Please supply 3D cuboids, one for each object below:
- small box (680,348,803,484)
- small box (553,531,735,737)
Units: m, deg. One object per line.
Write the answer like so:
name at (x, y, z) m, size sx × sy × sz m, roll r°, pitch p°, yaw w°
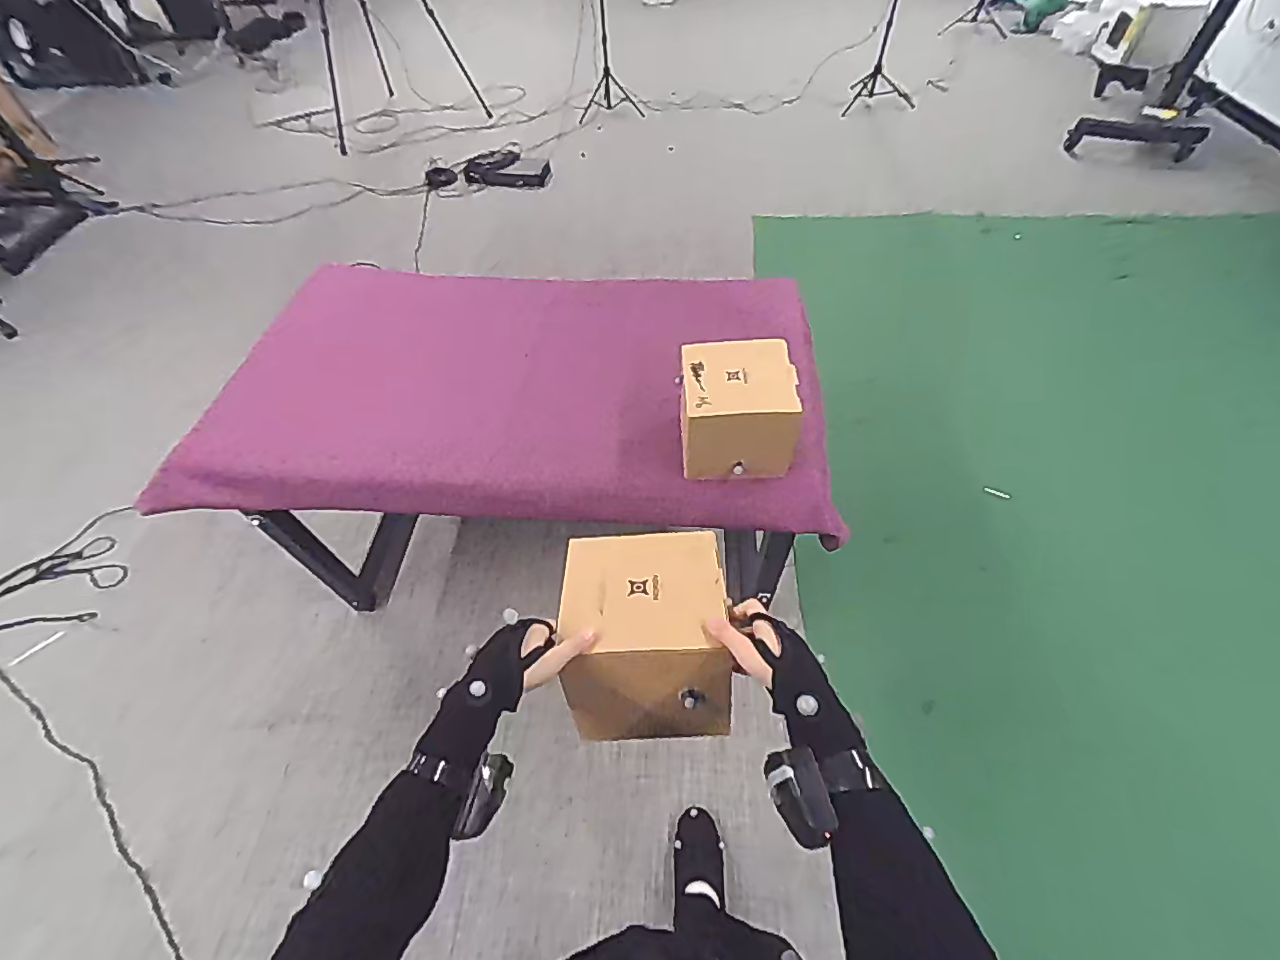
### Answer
small box at (0.161, -0.105, 0.919) m, size 0.179 × 0.176 × 0.168 m, roll -2°, pitch 53°, yaw 2°
small box at (0.011, 0.178, 0.625) m, size 0.179 × 0.176 × 0.168 m, roll -4°, pitch 37°, yaw 4°
